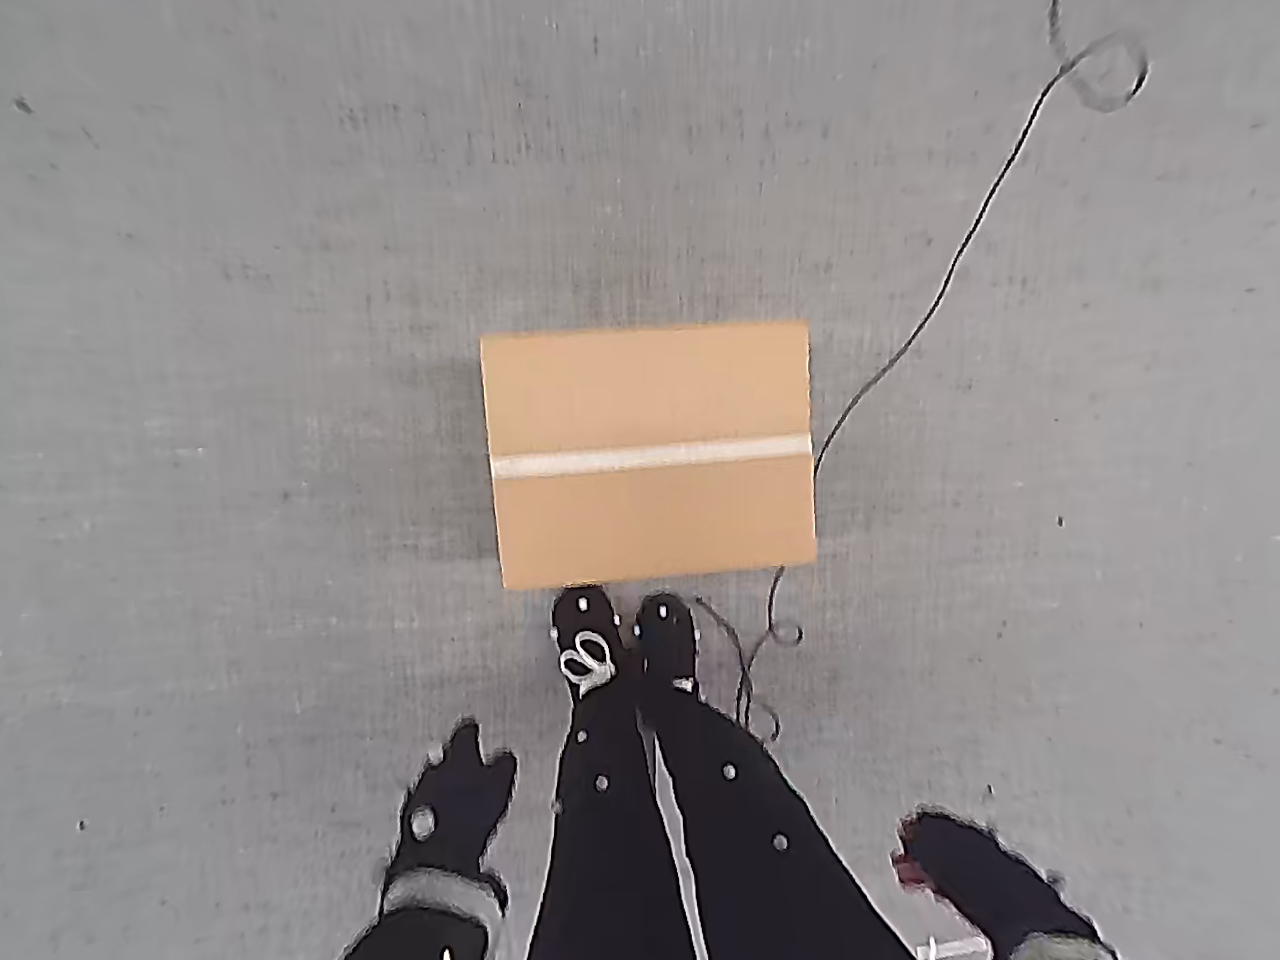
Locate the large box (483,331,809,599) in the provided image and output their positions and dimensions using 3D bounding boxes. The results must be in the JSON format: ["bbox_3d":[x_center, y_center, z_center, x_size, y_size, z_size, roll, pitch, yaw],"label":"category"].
[{"bbox_3d":[0.005,-0.034,0.834,0.408,0.320,0.320,-5,95,-5],"label":"large box"}]
